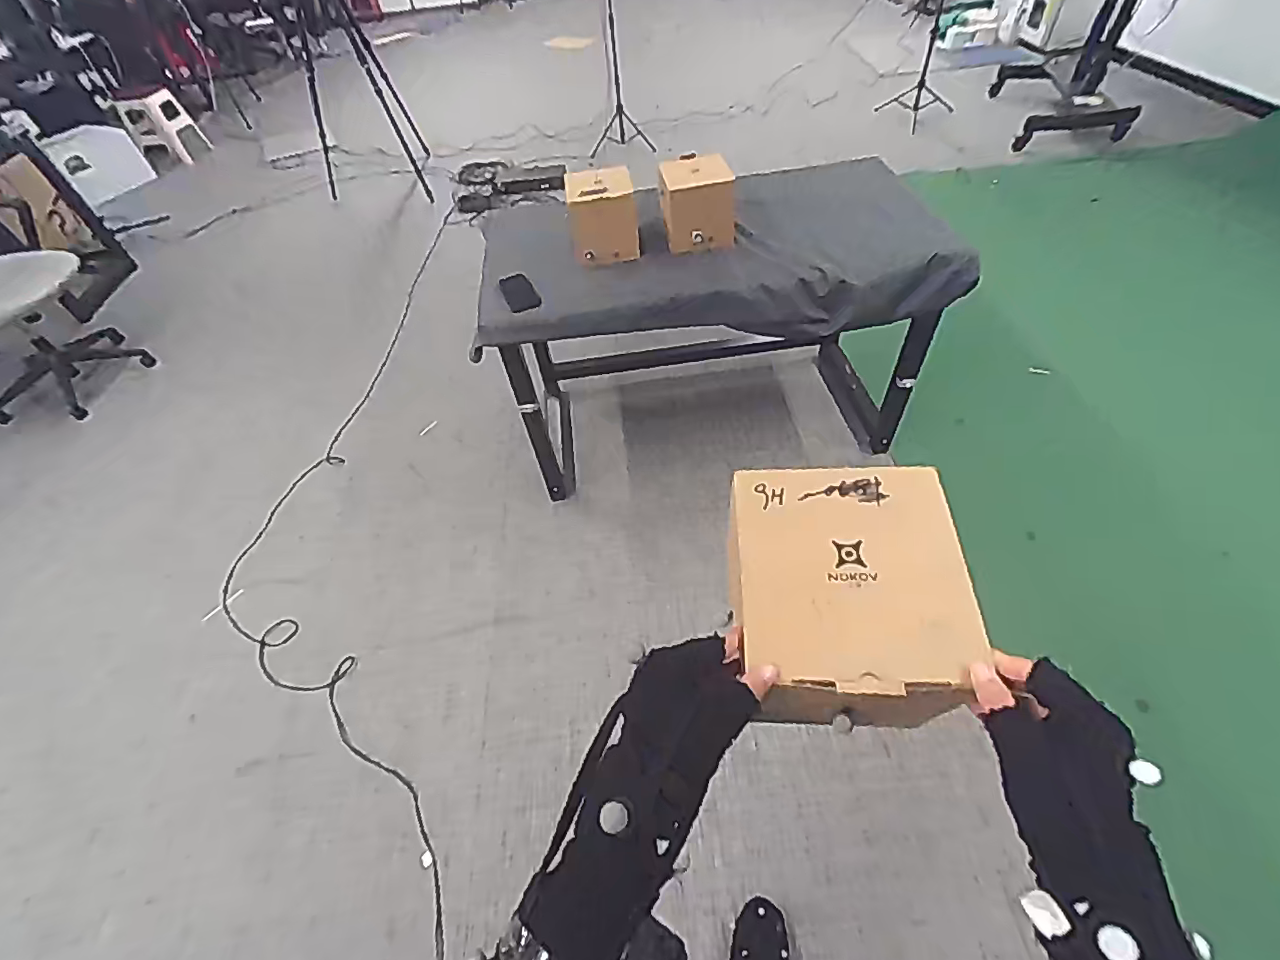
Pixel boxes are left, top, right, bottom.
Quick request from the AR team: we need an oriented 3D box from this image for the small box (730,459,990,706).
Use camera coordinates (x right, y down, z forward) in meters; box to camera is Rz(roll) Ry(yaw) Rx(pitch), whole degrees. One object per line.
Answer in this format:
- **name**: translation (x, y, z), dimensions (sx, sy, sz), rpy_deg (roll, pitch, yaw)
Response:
- **small box**: translation (0.169, 0.099, 0.485), dimensions (0.168, 0.176, 0.179), rpy_deg (-1, 59, 5)

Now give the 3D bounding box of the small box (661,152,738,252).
- **small box**: translation (0.151, -0.724, 1.412), dimensions (0.168, 0.176, 0.179), rpy_deg (-10, 52, -1)

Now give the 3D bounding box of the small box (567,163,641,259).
- **small box**: translation (-0.093, -0.691, 1.404), dimensions (0.168, 0.176, 0.179), rpy_deg (-8, 50, -1)
